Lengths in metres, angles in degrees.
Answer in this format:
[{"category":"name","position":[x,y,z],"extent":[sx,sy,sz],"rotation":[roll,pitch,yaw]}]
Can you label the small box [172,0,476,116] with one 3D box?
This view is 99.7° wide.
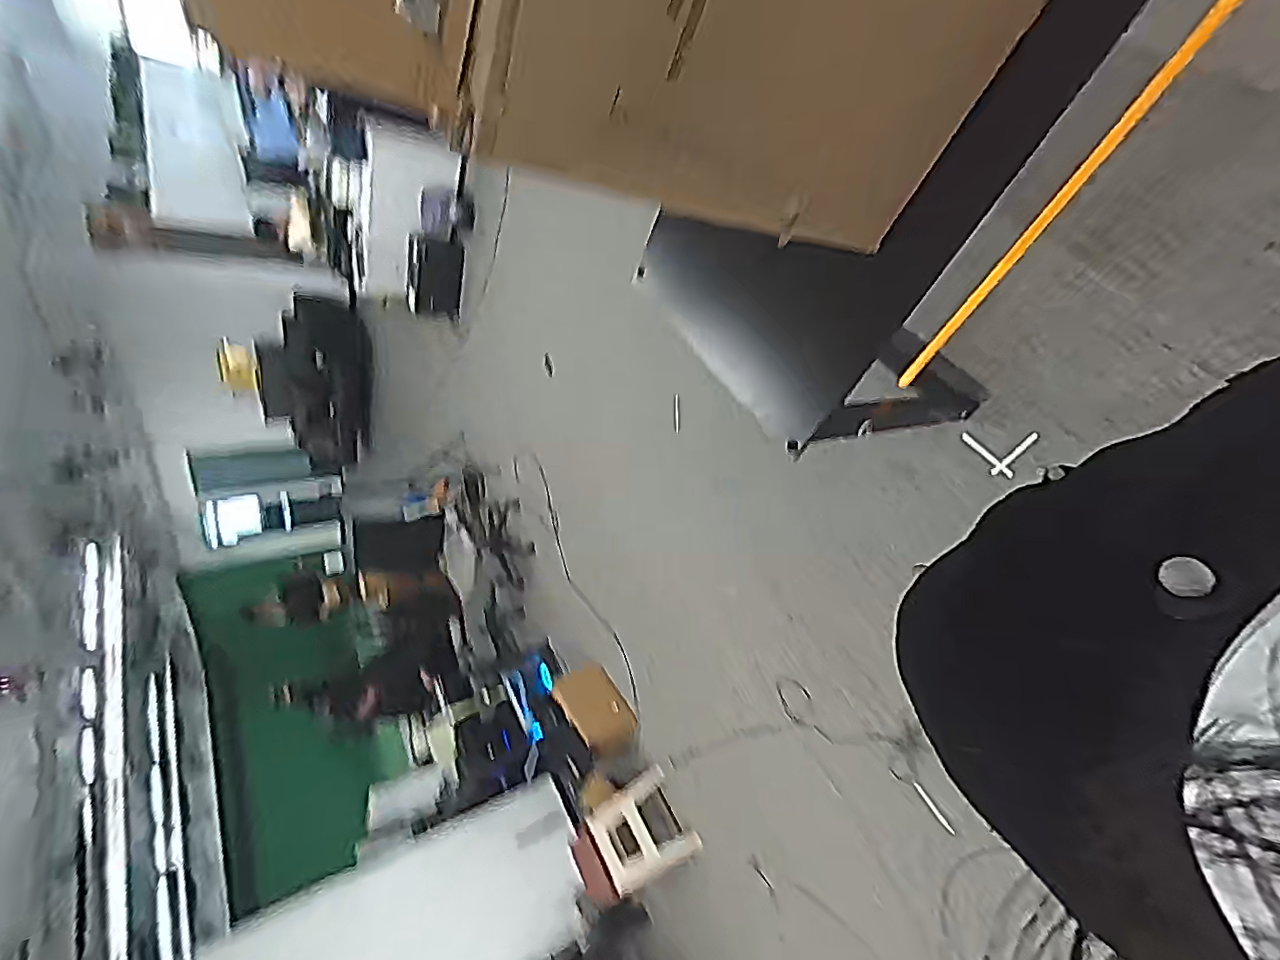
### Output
[{"category":"small box","position":[-0.221,-0.387,0.373],"extent":[0.179,0.176,0.168],"rotation":[54,135,29]}]
